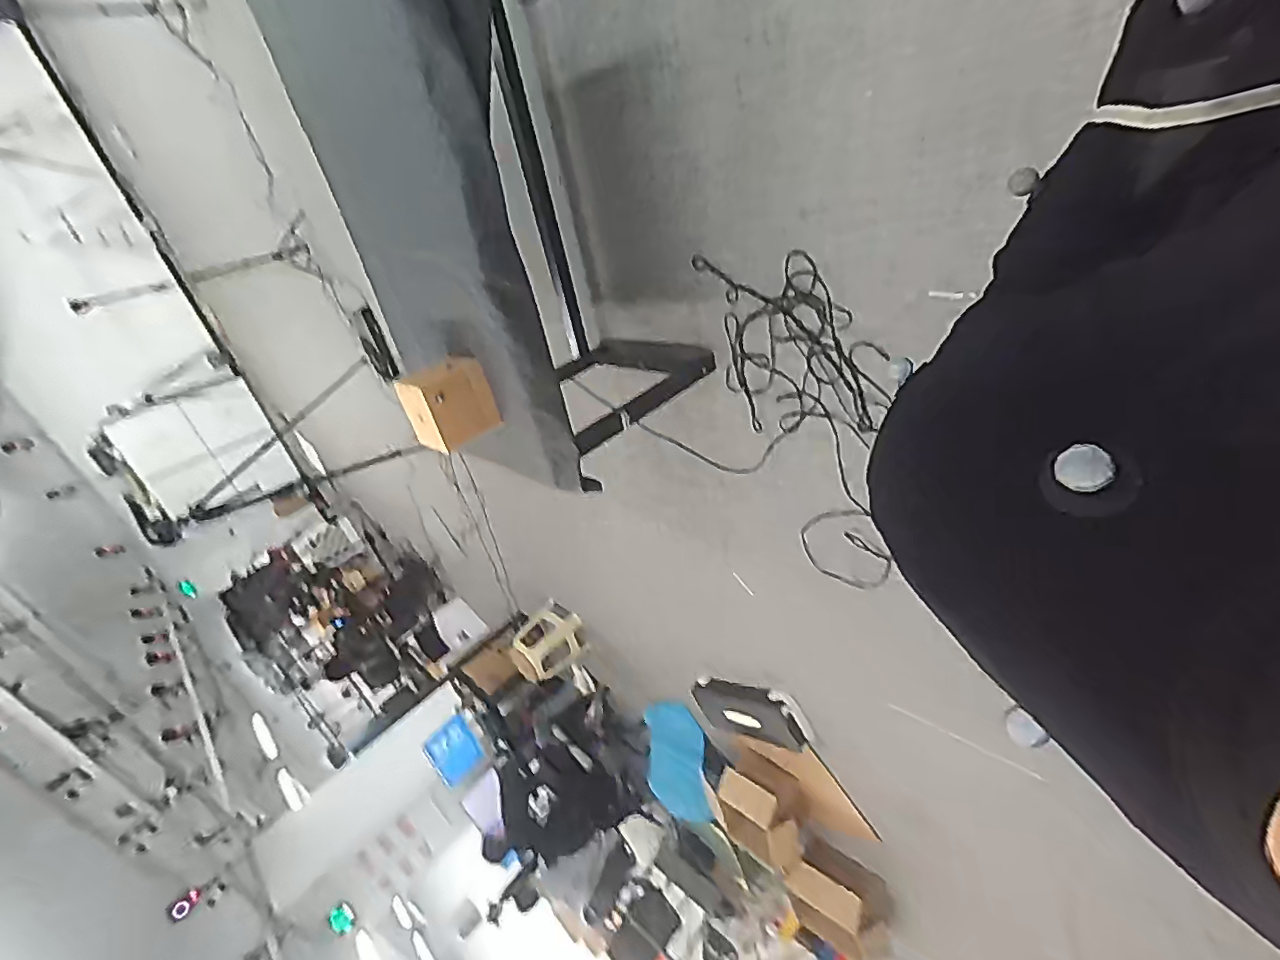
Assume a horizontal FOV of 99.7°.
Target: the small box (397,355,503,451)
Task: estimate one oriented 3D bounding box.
[{"bbox_3d":[-0.473,-0.199,1.368,0.168,0.176,0.179,17,131,43],"label":"small box"}]
